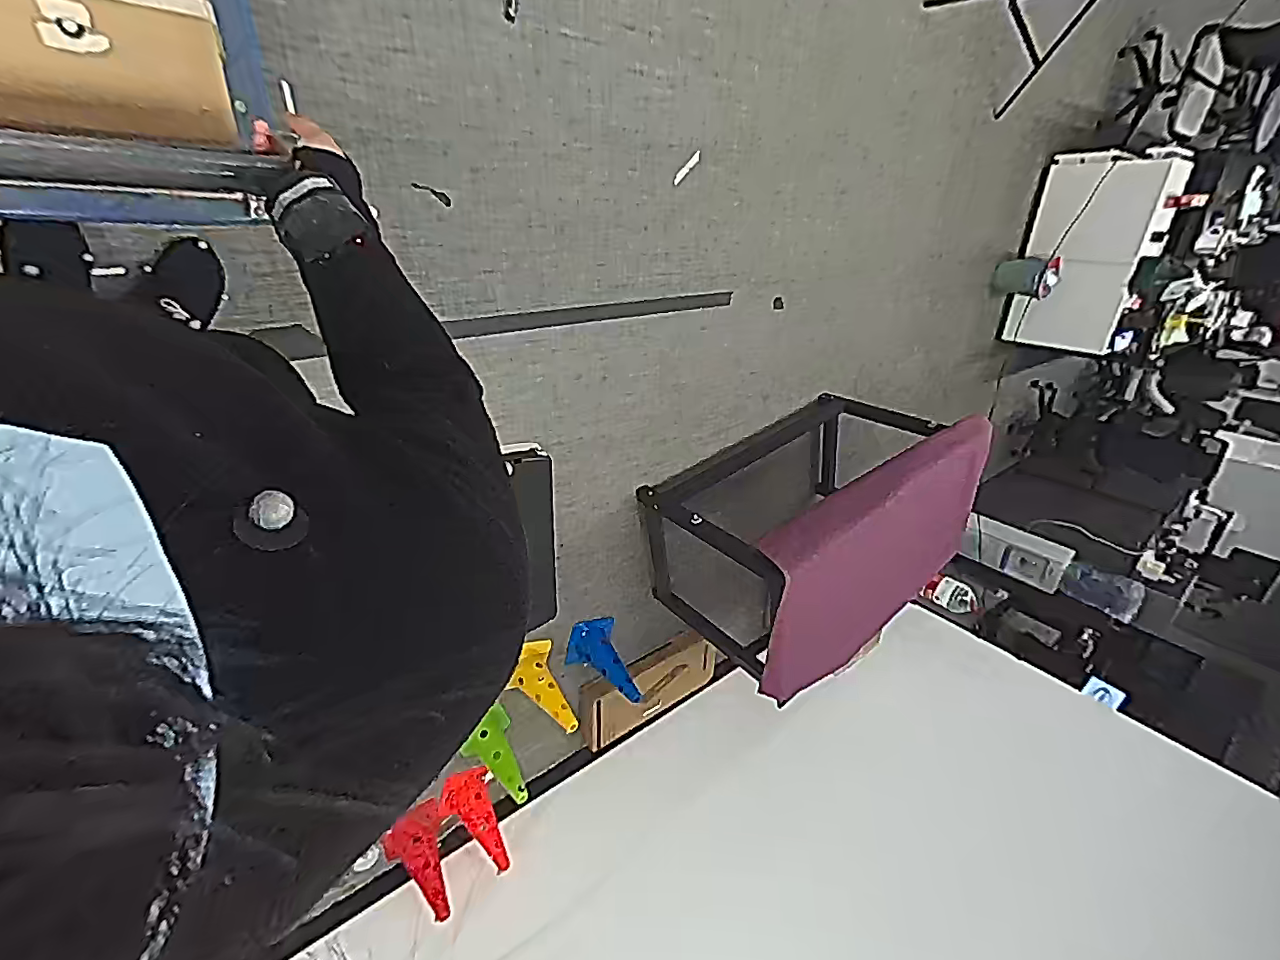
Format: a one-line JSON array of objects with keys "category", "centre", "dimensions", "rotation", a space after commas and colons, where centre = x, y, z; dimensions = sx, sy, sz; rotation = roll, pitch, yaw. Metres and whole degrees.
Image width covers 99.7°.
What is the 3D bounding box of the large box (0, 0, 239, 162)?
[{"category": "large box", "centre": [-0.790, -0.596, 0.668], "dimensions": [0.408, 0.320, 0.320], "rotation": [-16, 121, -35]}]
